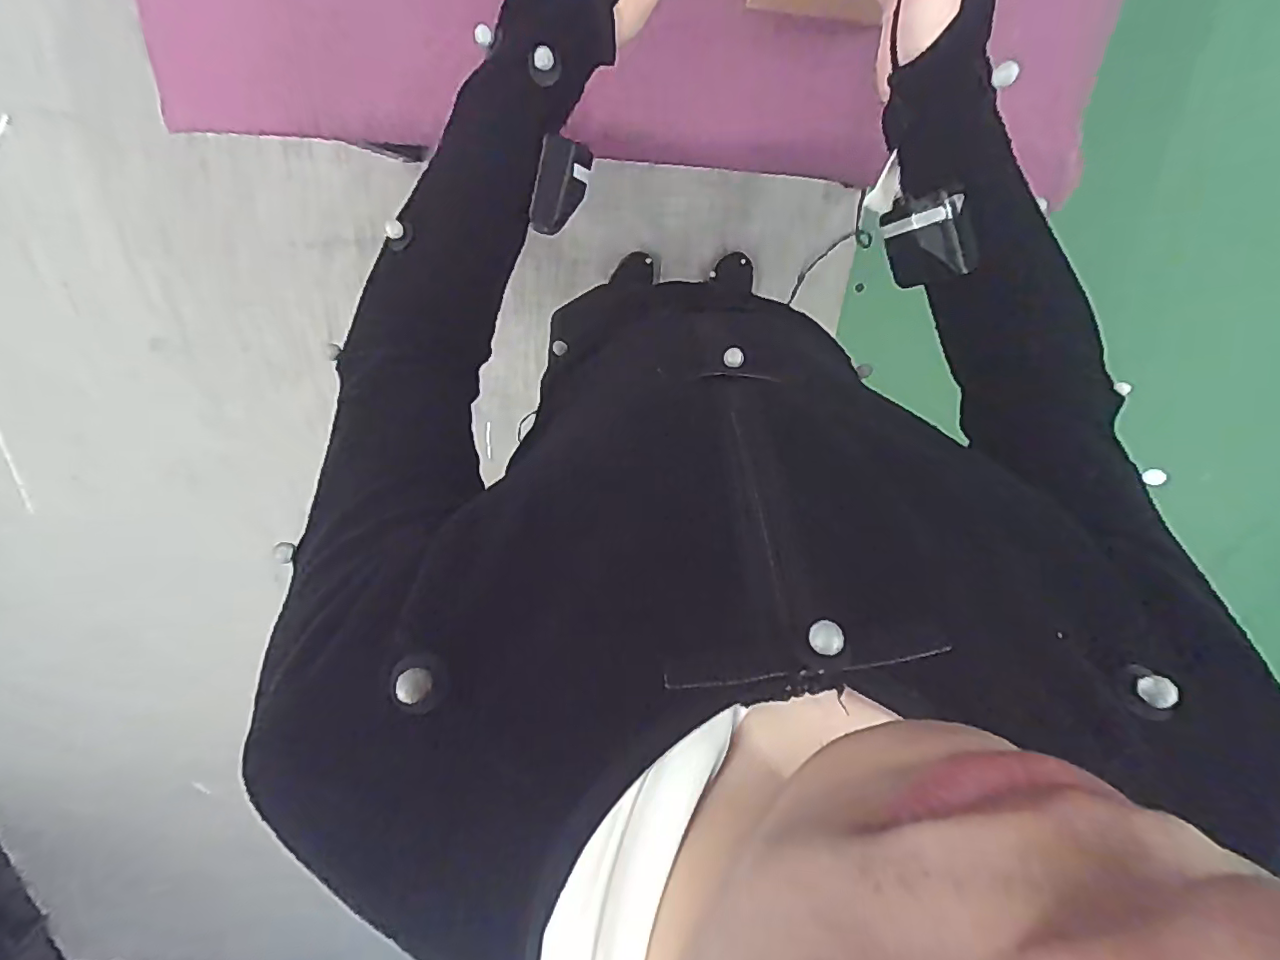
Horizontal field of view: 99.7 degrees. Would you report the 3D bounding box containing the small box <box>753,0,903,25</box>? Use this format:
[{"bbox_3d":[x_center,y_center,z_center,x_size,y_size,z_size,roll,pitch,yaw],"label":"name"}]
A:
[{"bbox_3d":[0.227,-0.616,0.568,0.179,0.176,0.168,6,114,-3],"label":"small box"}]
